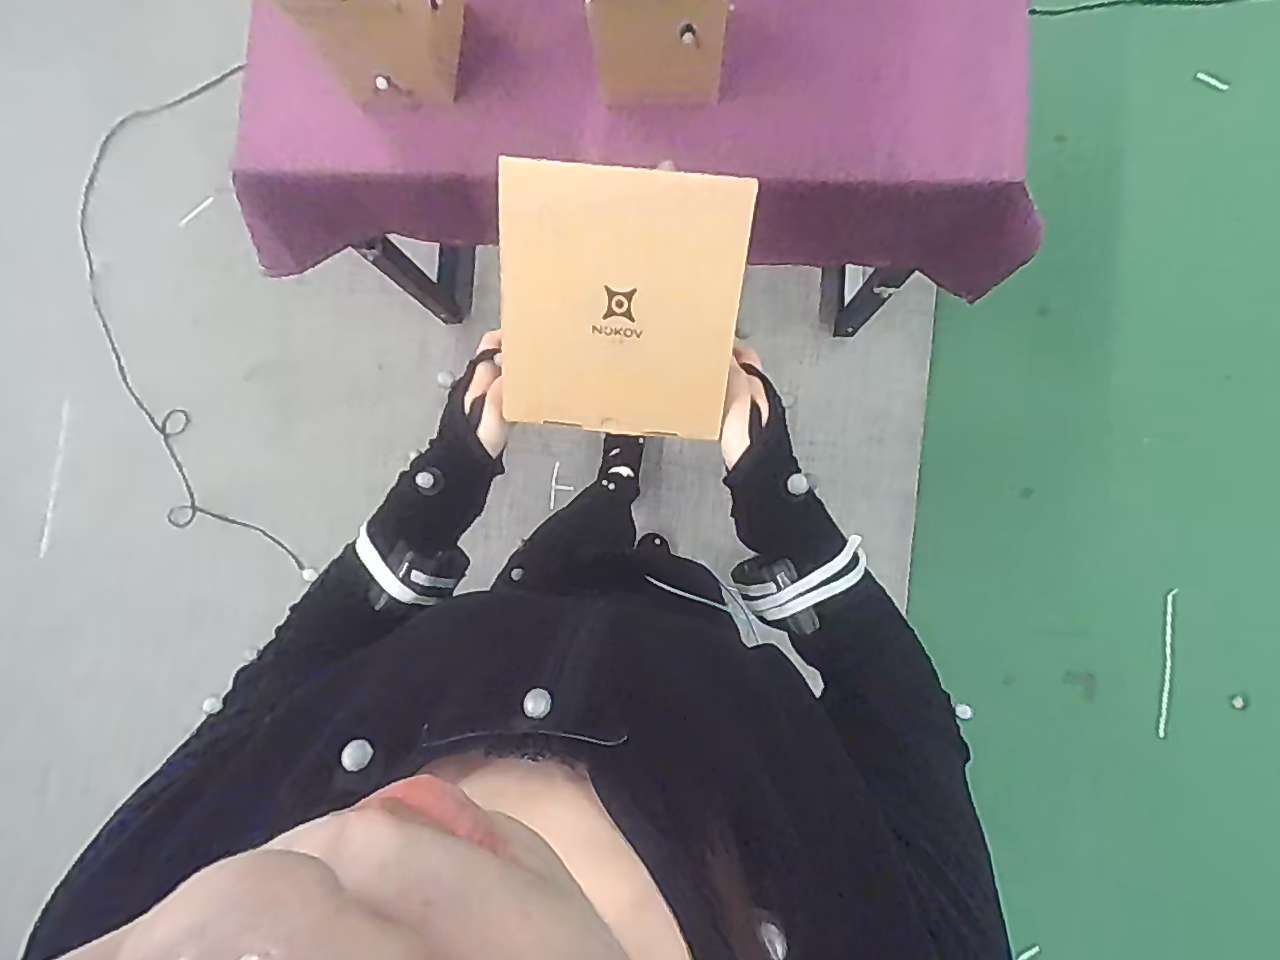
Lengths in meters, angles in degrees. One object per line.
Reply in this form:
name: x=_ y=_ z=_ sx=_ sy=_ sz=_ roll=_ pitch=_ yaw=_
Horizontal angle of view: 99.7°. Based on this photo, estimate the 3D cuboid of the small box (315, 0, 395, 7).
small box: x=-0.379 y=-0.688 z=0.611 sx=0.168 sy=0.176 sz=0.179 roll=5 pitch=87 yaw=3

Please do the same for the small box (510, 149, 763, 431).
small box: x=-0.006 y=-0.156 z=0.449 sx=0.168 sy=0.176 sz=0.179 roll=6 pitch=115 yaw=1

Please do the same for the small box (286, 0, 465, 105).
small box: x=-0.364 y=-0.685 z=0.774 sx=0.168 sy=0.176 sz=0.179 roll=5 pitch=87 yaw=4

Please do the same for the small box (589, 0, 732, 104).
small box: x=0.033 y=-0.656 z=0.745 sx=0.179 sy=0.176 sz=0.168 roll=3 pitch=86 yaw=4
